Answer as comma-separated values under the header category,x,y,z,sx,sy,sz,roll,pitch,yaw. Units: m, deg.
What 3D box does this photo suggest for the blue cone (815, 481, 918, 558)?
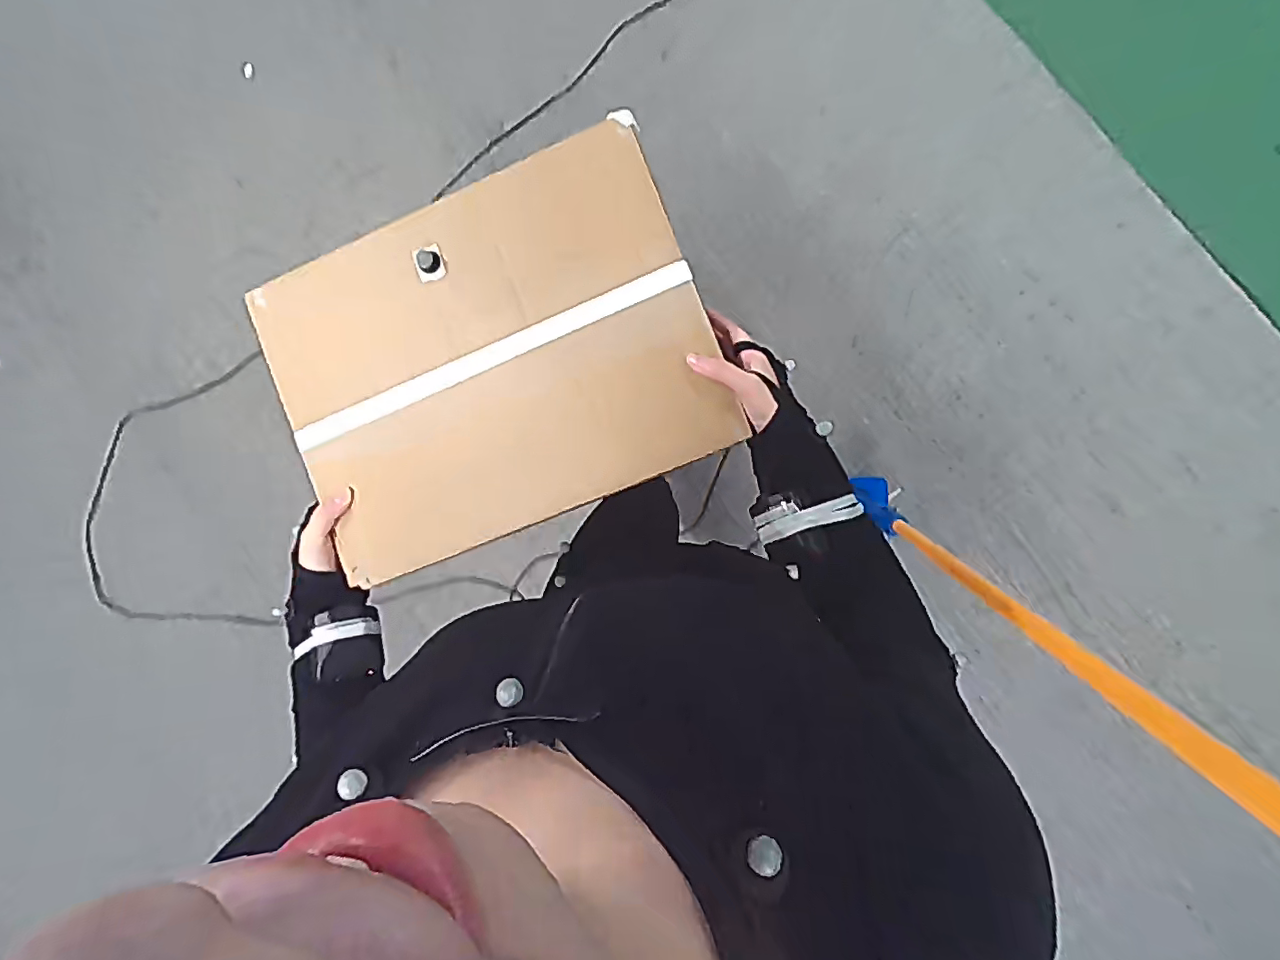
category,x,y,z,sx,sy,sz,roll,pitch,yaw
blue cone,0.537,0.099,1.232,0.193,0.380,0.192,-4,89,5
